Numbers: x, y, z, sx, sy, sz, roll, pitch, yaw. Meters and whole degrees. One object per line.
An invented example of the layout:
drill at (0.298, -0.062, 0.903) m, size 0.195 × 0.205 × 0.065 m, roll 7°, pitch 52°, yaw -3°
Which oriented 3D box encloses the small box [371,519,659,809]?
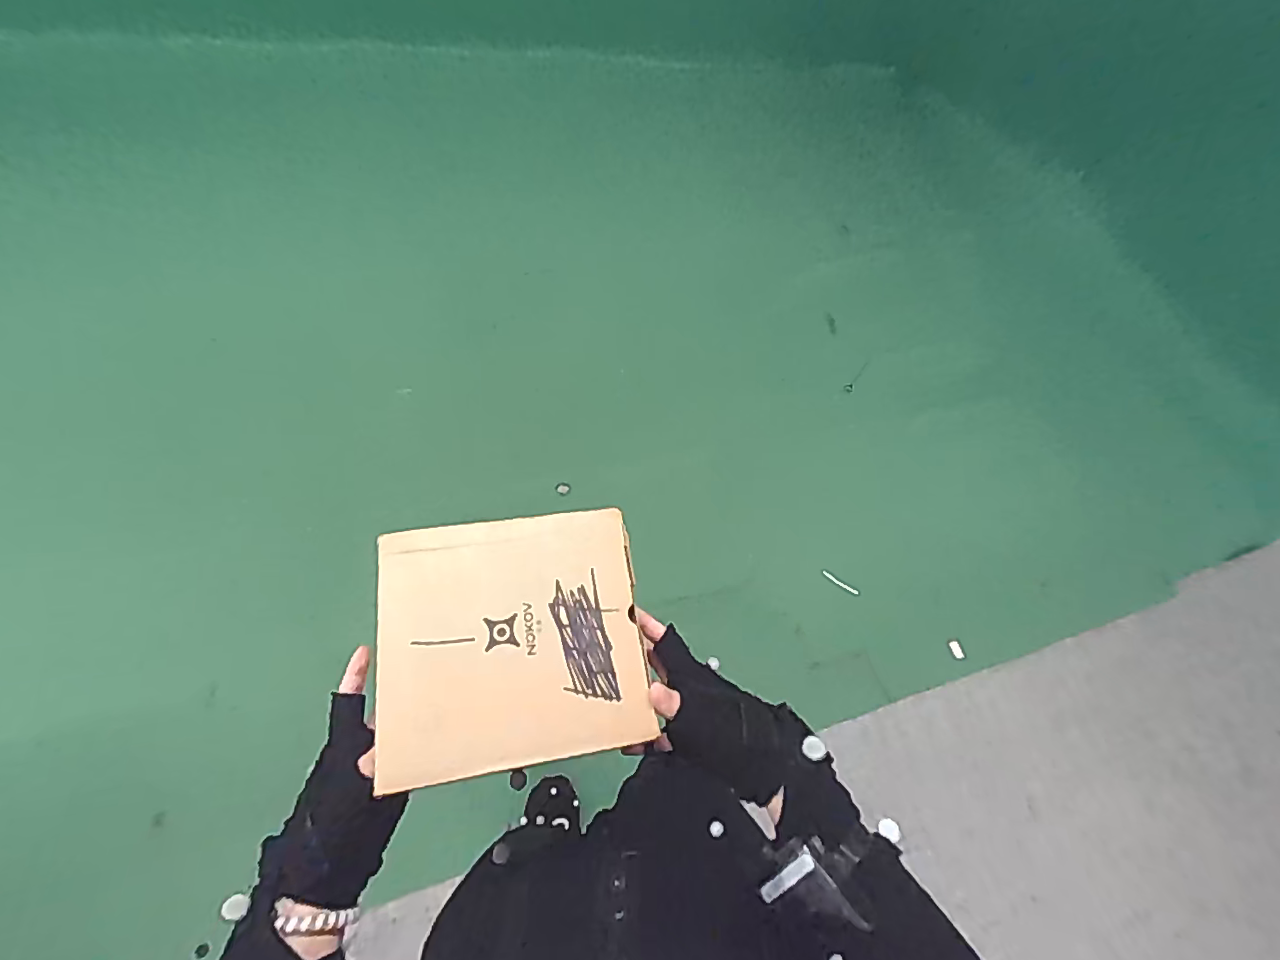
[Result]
small box at (-0.097, 0.143, 0.432) m, size 0.179 × 0.176 × 0.168 m, roll -6°, pitch 66°, yaw -12°
